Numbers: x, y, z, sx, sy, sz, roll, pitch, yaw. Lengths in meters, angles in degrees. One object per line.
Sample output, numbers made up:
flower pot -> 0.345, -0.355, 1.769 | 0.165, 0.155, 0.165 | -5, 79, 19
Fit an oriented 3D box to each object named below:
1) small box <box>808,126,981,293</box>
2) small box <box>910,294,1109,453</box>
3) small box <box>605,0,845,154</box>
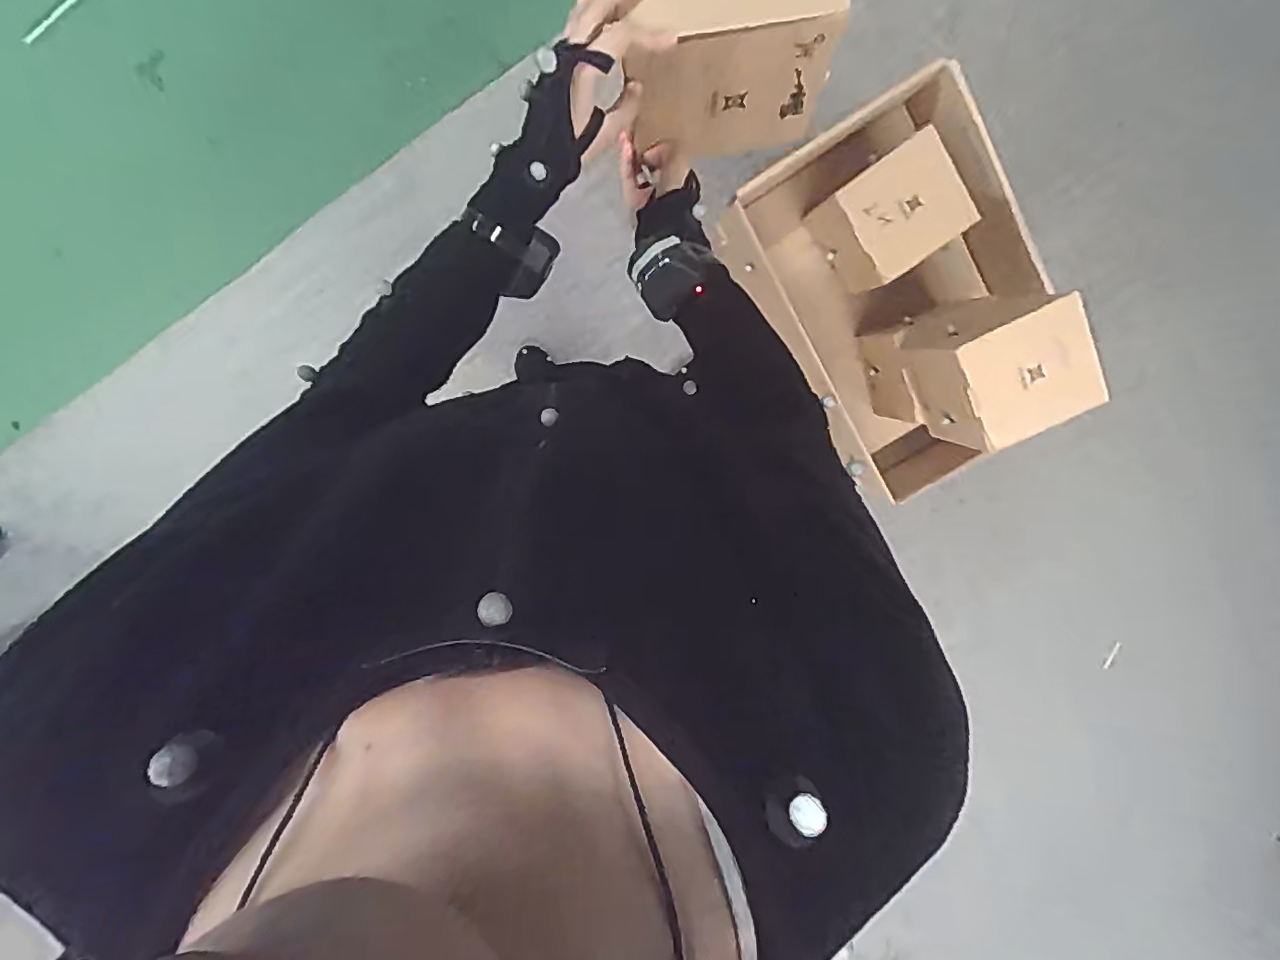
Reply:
small box -> 0.417, -0.442, 0.915 | 0.179, 0.176, 0.168 | -34, 101, 7
small box -> 0.539, -0.159, 0.818 | 0.179, 0.176, 0.168 | -25, 103, 5
small box -> 0.061, -0.422, 0.470 | 0.179, 0.168, 0.176 | -5, 93, 4
